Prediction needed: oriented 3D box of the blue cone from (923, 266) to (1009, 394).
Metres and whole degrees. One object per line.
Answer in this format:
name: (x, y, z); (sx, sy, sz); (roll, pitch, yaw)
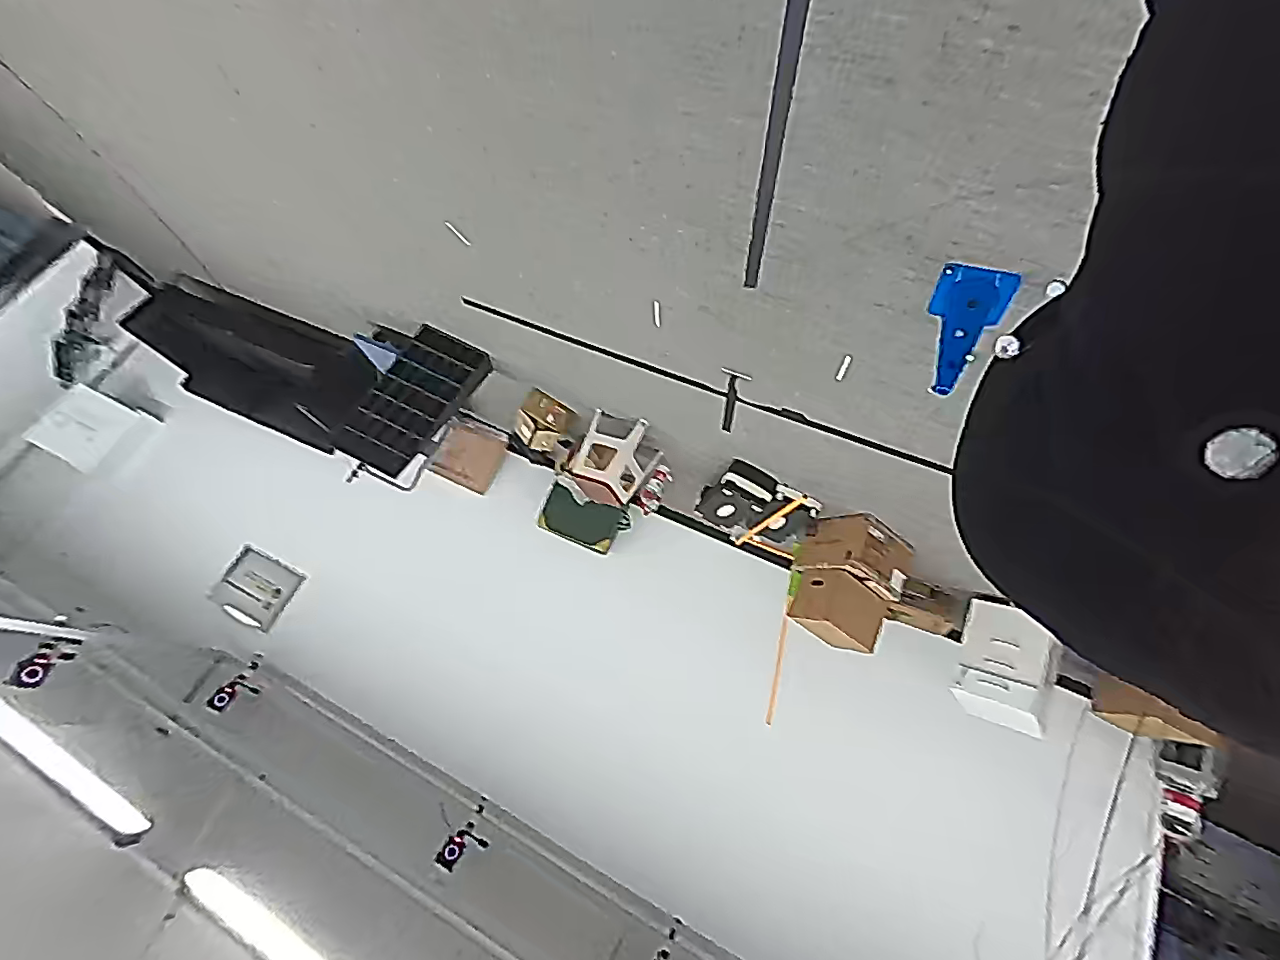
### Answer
blue cone: (0.873, -0.396, 1.516); (0.192, 0.380, 0.193); (21, 160, 19)
